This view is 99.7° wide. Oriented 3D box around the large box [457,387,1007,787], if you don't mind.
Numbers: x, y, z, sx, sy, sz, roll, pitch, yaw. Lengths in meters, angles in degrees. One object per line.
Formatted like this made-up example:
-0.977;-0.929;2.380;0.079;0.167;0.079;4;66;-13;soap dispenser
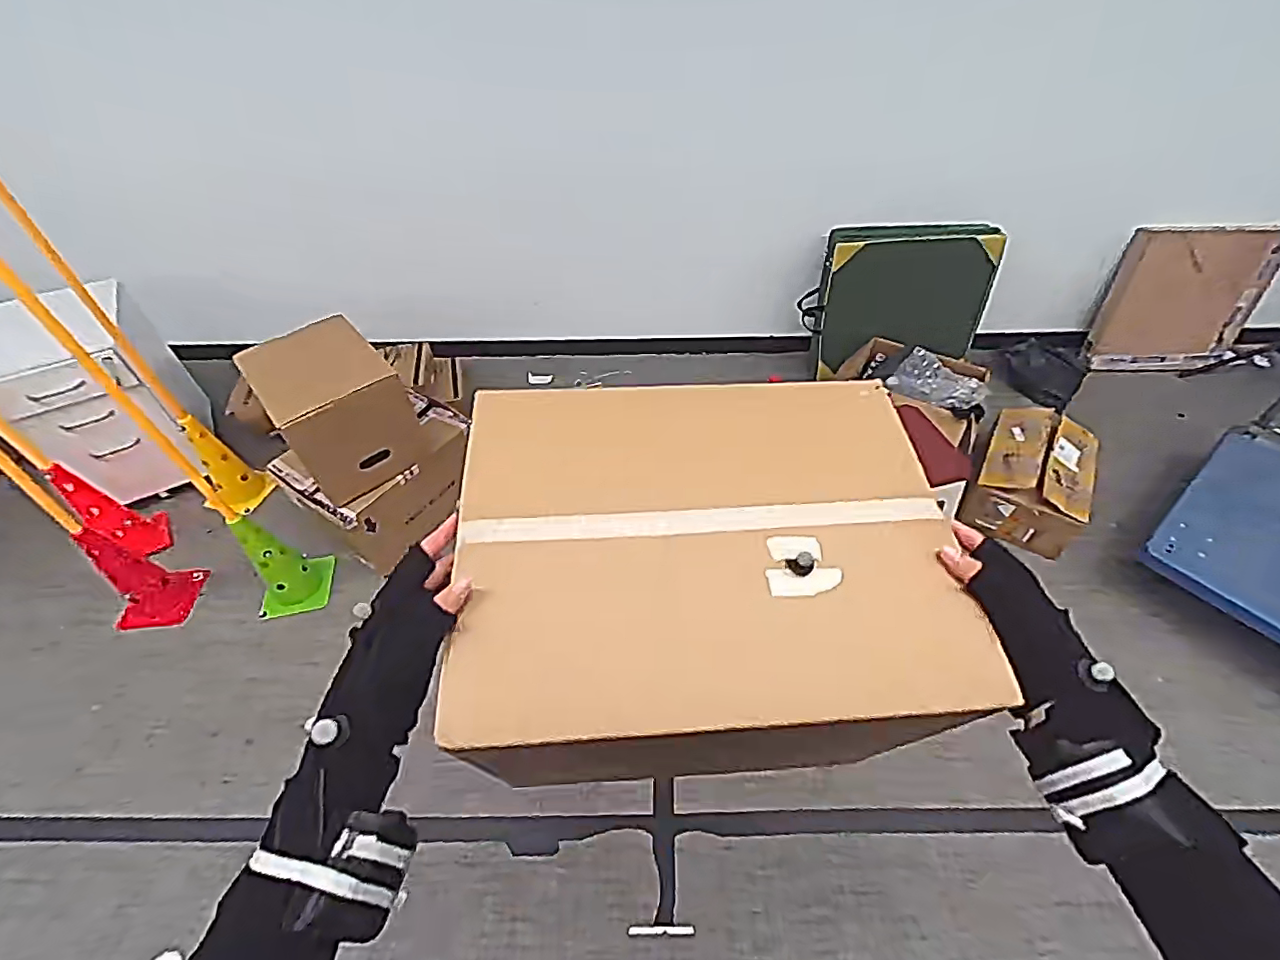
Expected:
0.052;0.123;0.580;0.408;0.320;0.320;-2;57;-5;large box
